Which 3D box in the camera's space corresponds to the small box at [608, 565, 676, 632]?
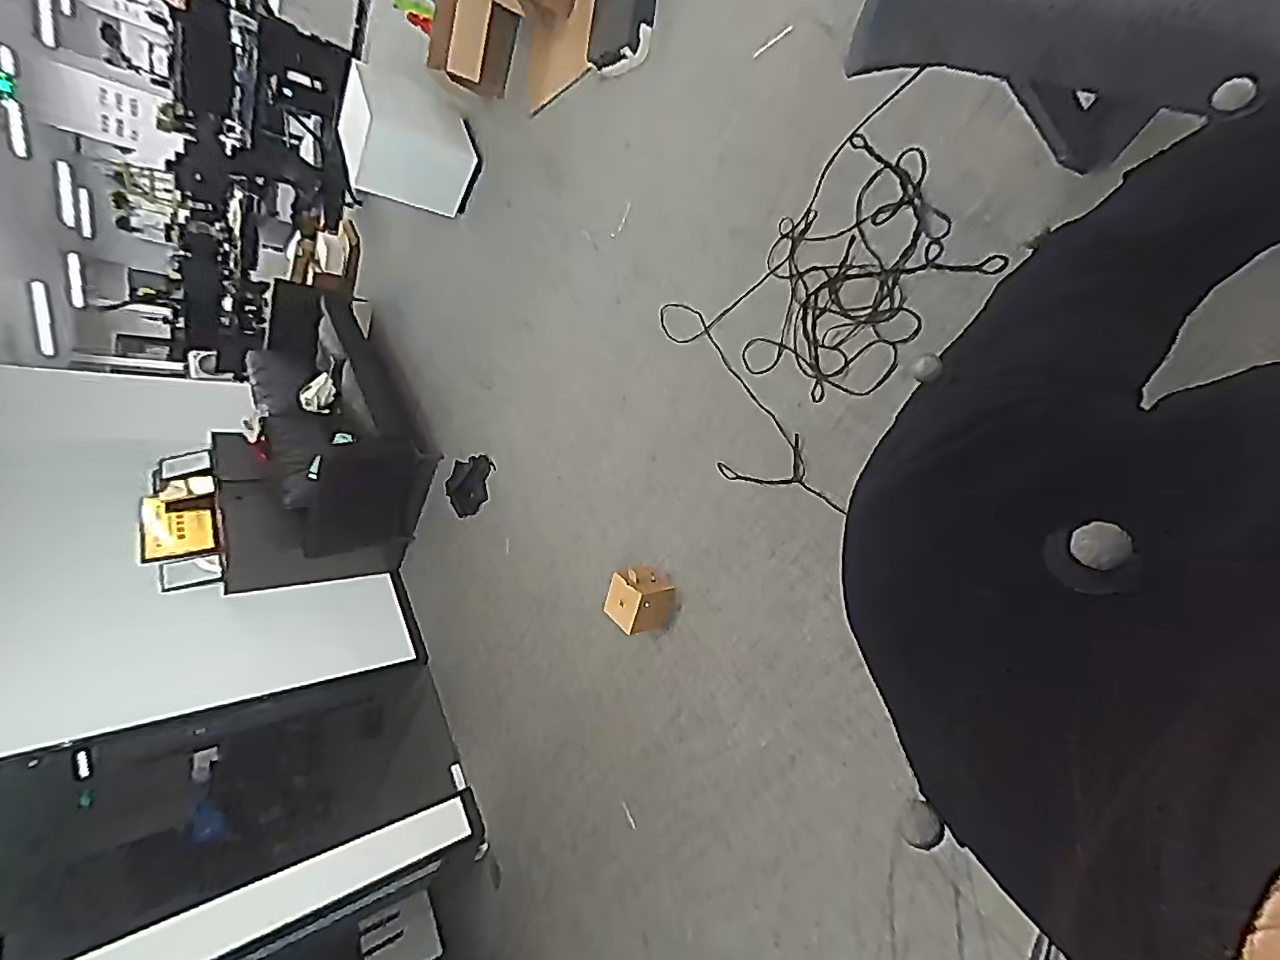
[{"bbox_3d":[0.011,0.435,2.011,0.168,0.176,0.179,33,115,43],"label":"small box"}]
